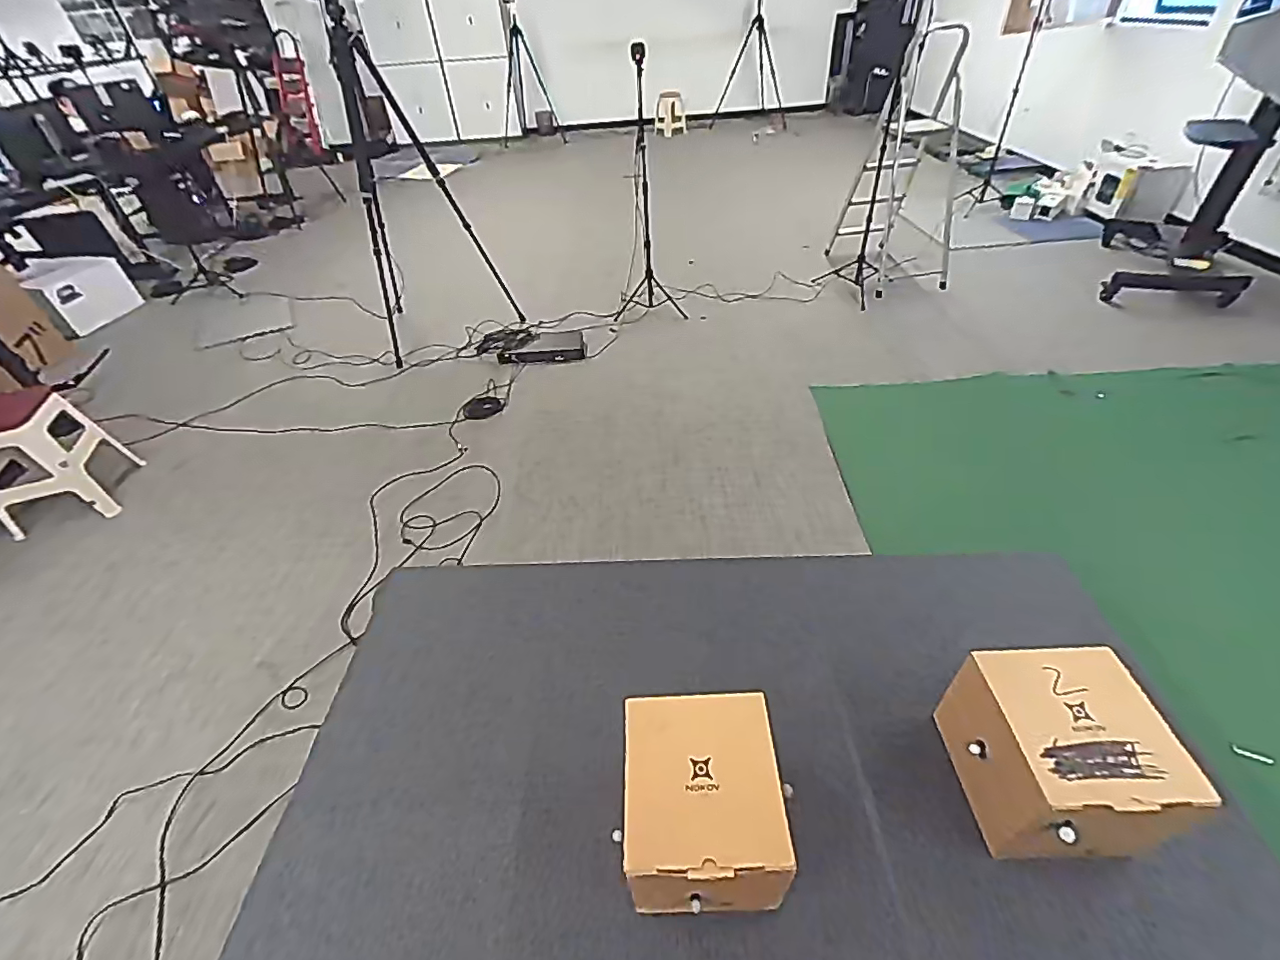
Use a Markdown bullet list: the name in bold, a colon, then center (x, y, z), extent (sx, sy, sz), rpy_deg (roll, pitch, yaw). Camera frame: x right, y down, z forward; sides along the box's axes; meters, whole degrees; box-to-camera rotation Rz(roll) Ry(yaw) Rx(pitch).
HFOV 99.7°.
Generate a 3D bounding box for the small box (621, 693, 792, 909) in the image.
- **small box**: center (0.065, 0.371, 0.628), extent (0.168, 0.176, 0.179), rpy_deg (-2, 42, 1)
